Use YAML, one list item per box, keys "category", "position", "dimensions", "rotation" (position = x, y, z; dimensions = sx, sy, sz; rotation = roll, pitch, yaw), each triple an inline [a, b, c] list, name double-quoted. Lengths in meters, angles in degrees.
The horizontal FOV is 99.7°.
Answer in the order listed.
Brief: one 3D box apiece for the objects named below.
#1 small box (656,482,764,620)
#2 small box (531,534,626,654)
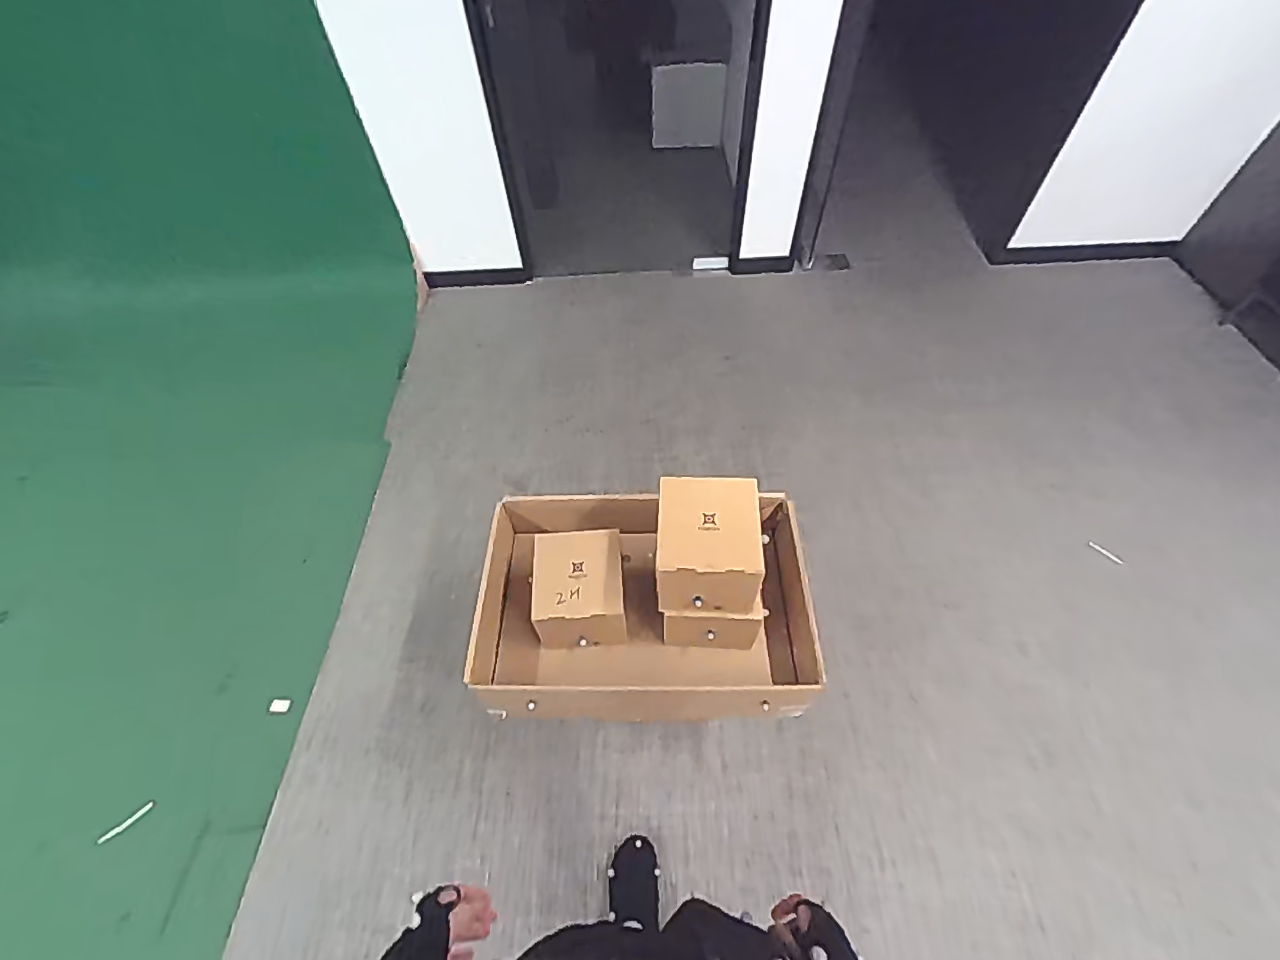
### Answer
- category: "small box"
  position: [0.114, 0.123, 0.930]
  dimensions: [0.168, 0.176, 0.179]
  rotation: [1, 53, 4]
- category: "small box"
  position: [-0.114, 0.226, 1.061]
  dimensions: [0.168, 0.176, 0.179]
  rotation: [-3, 54, -1]
